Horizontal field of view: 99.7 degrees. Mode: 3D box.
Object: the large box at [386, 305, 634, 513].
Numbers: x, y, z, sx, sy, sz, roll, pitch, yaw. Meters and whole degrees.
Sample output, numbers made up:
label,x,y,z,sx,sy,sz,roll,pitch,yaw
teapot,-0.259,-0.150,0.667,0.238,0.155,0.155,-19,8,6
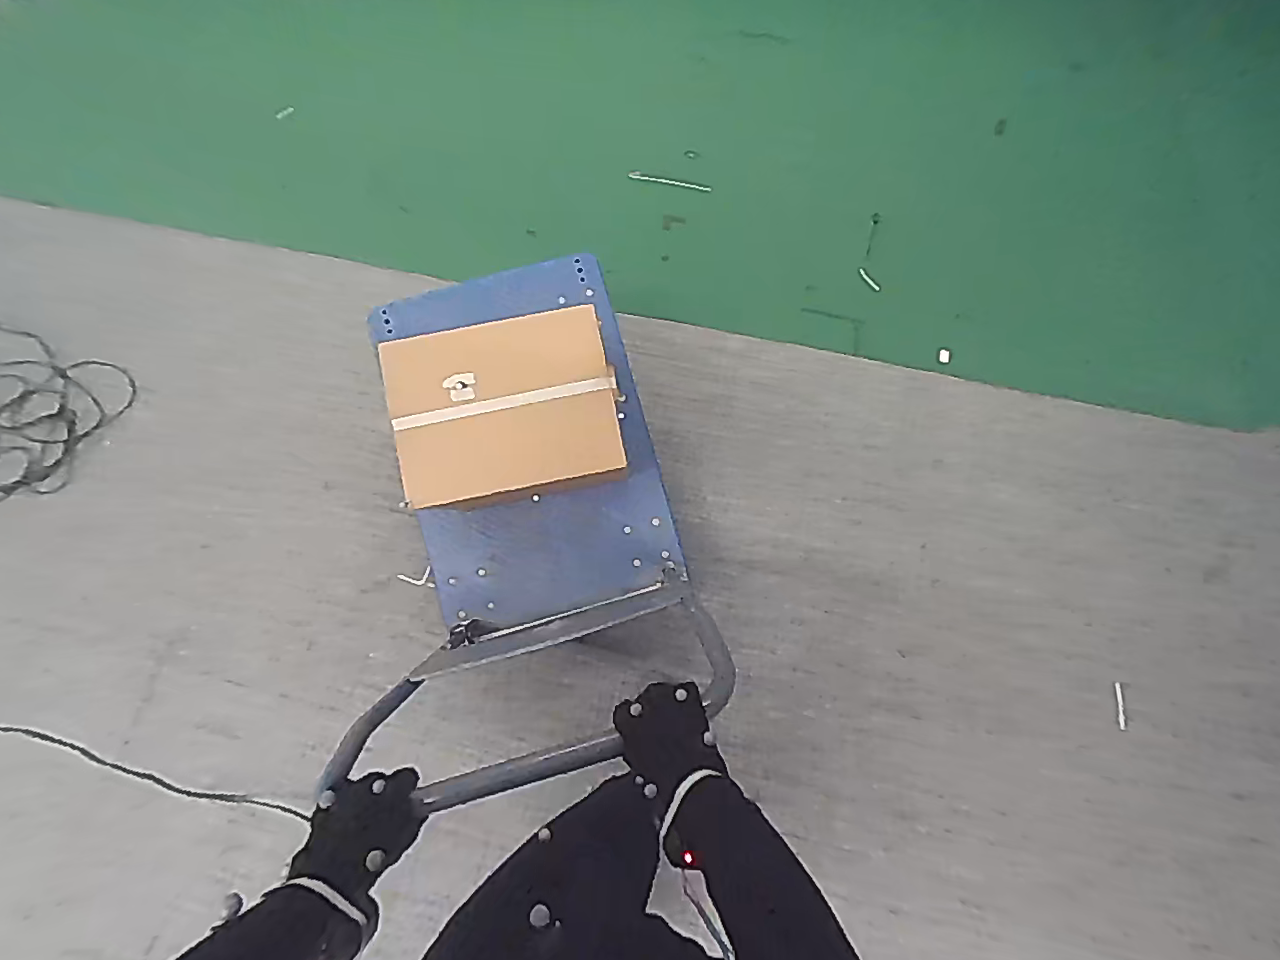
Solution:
label,x,y,z,sx,sy,sz,roll,pitch,yaw
large box,-0.240,-0.126,1.135,0.408,0.320,0.320,-12,86,0
